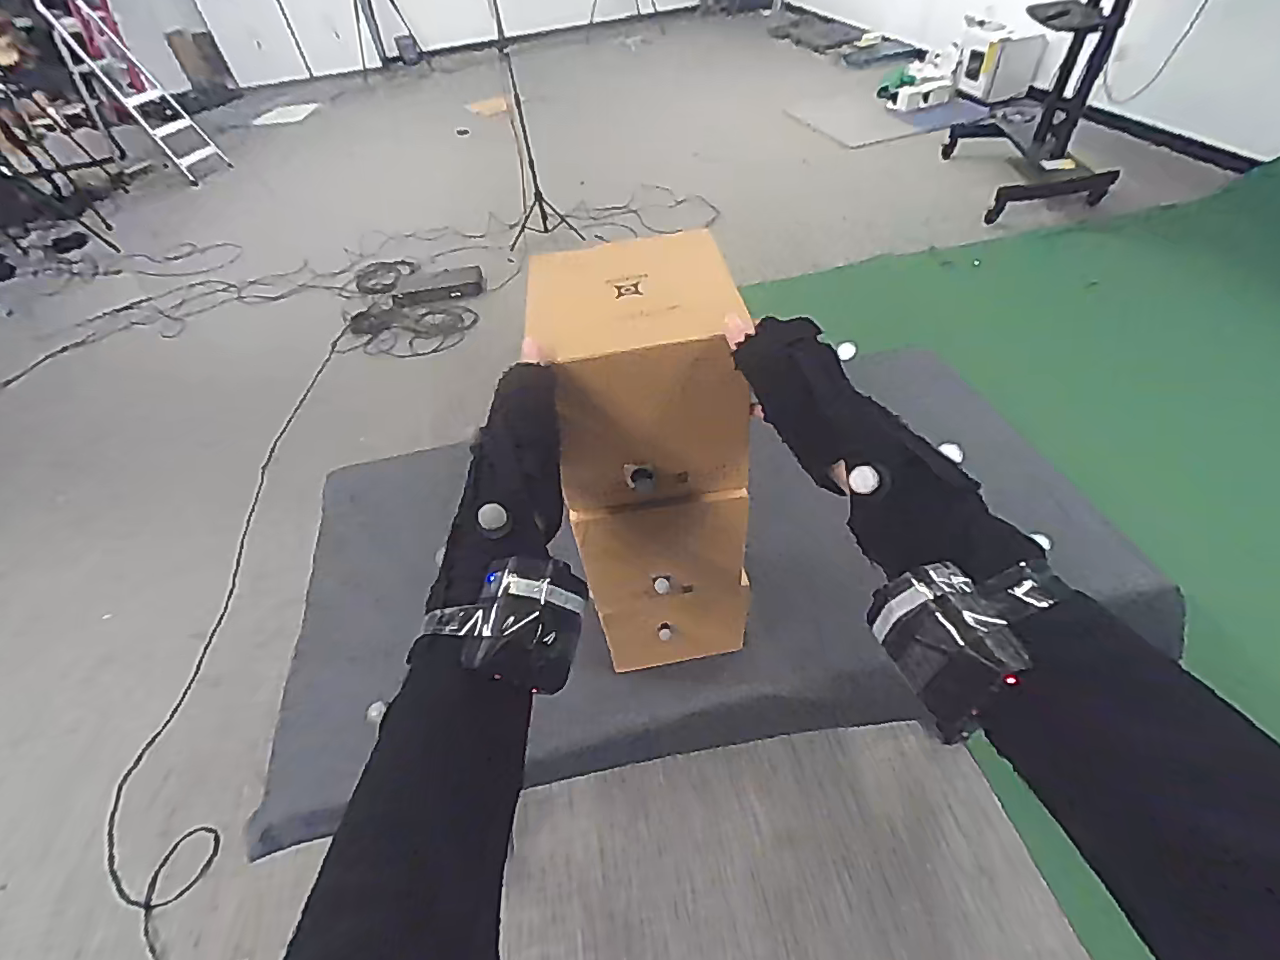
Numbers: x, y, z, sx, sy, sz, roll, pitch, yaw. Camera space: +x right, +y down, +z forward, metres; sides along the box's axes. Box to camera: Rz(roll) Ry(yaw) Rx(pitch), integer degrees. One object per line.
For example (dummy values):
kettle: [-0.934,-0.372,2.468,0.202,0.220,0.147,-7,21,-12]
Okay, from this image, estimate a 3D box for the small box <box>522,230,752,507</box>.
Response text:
small box: [-0.001,-0.100,0.492,0.168,0.176,0.179,-8,47,1]

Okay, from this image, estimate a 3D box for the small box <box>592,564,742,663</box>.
small box: [0.031,0.128,0.726,0.179,0.176,0.168,-10,48,-2]

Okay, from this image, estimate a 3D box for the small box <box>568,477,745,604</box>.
small box: [0.015,0.015,0.607,0.168,0.176,0.179,-8,48,1]
